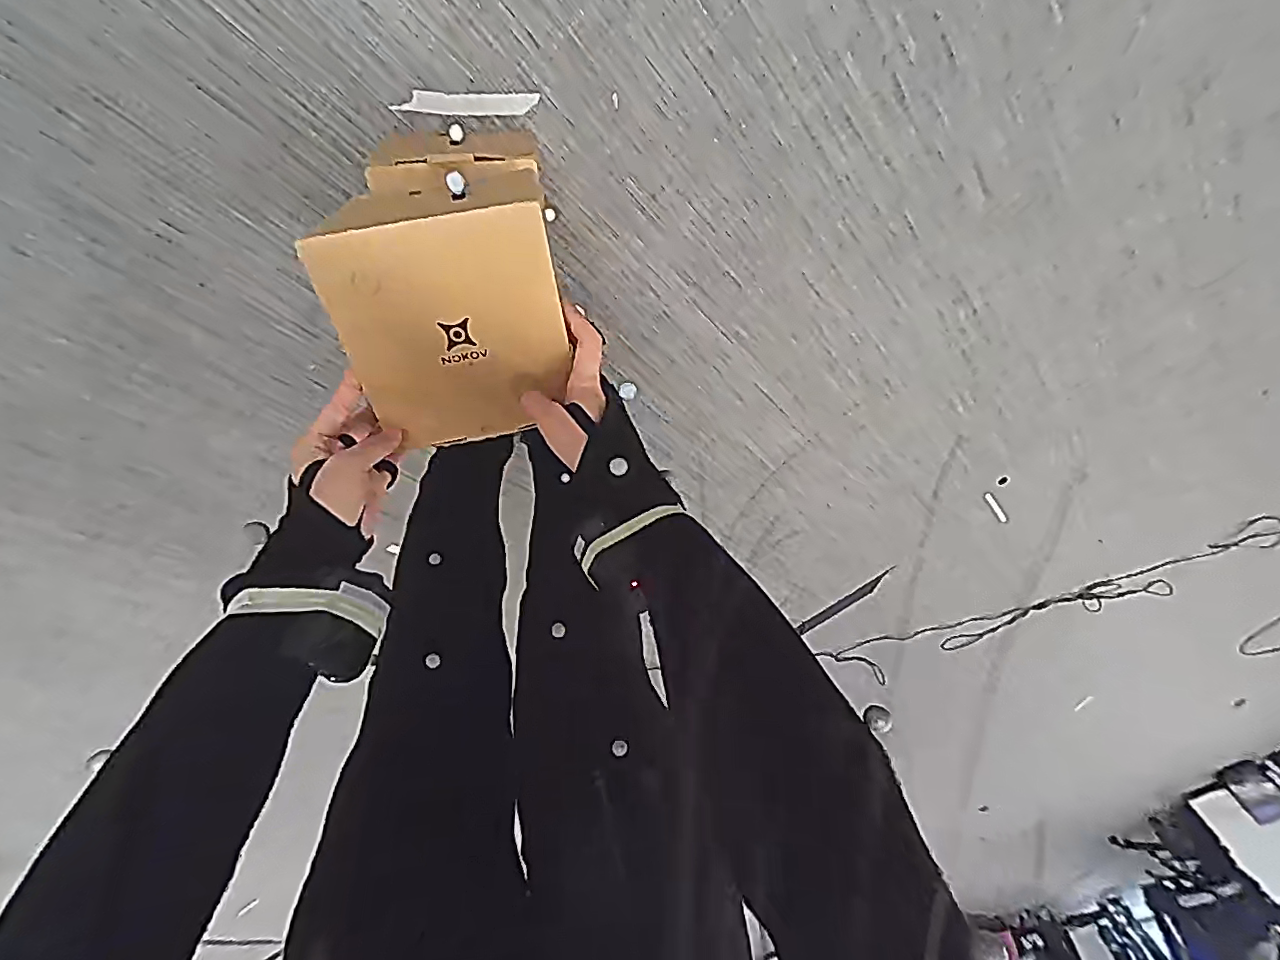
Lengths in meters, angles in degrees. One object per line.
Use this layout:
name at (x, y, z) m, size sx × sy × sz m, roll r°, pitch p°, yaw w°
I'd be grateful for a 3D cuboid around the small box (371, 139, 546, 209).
small box at (-0.195, -0.294, 0.639) m, size 0.168 × 0.176 × 0.179 m, roll -7°, pitch 131°, yaw -8°

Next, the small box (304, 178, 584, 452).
small box at (-0.153, -0.154, 0.477) m, size 0.168 × 0.176 × 0.179 m, roll -12°, pitch 128°, yaw -5°
